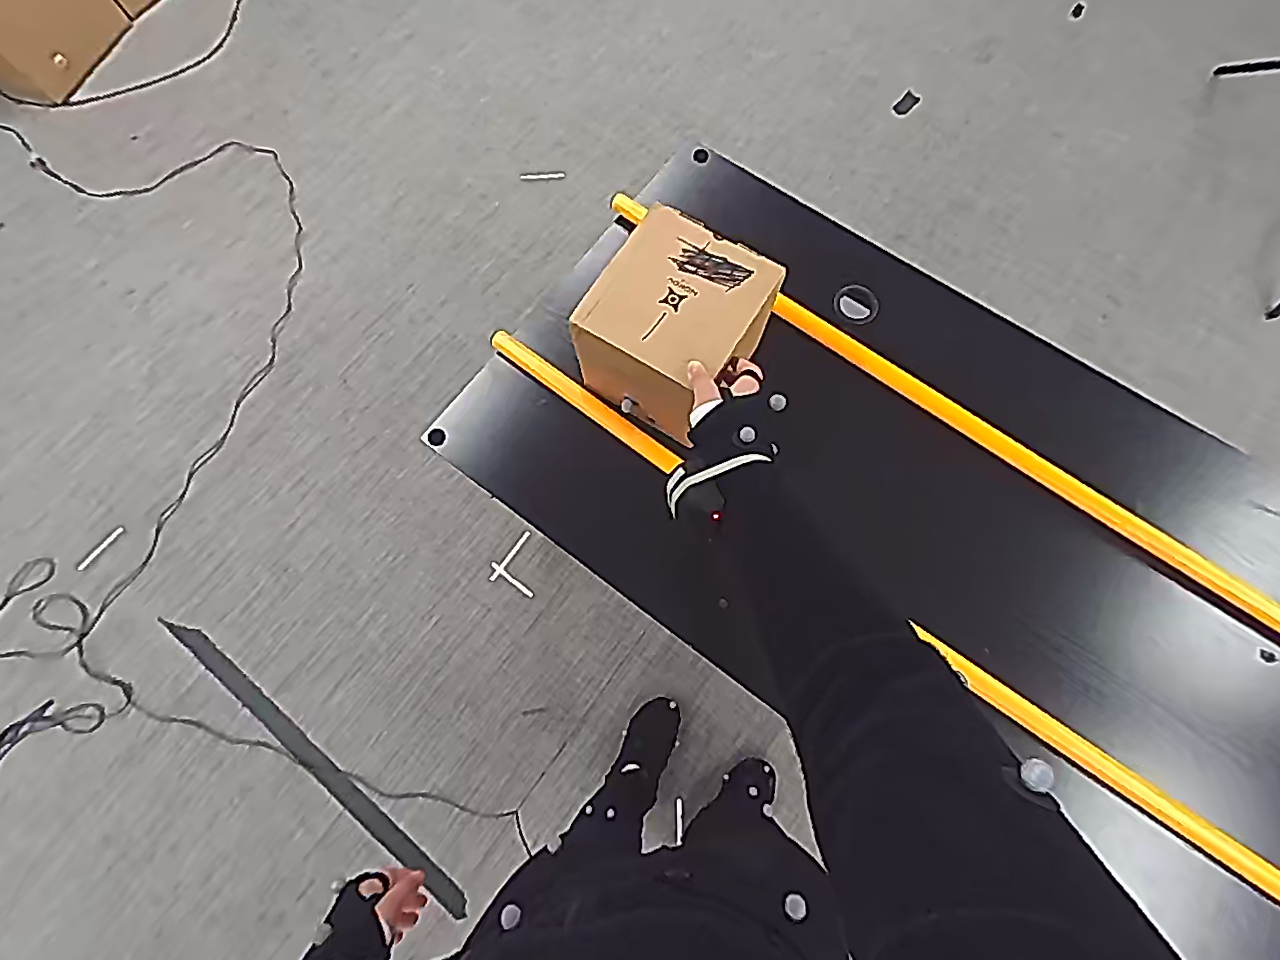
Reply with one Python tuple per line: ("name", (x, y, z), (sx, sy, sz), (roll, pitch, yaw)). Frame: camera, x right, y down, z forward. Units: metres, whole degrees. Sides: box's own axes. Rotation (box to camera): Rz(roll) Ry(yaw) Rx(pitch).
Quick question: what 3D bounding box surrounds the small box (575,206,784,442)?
("small box", (0.043, -0.176, 0.651), (0.168, 0.176, 0.179), (31, 78, 9))
